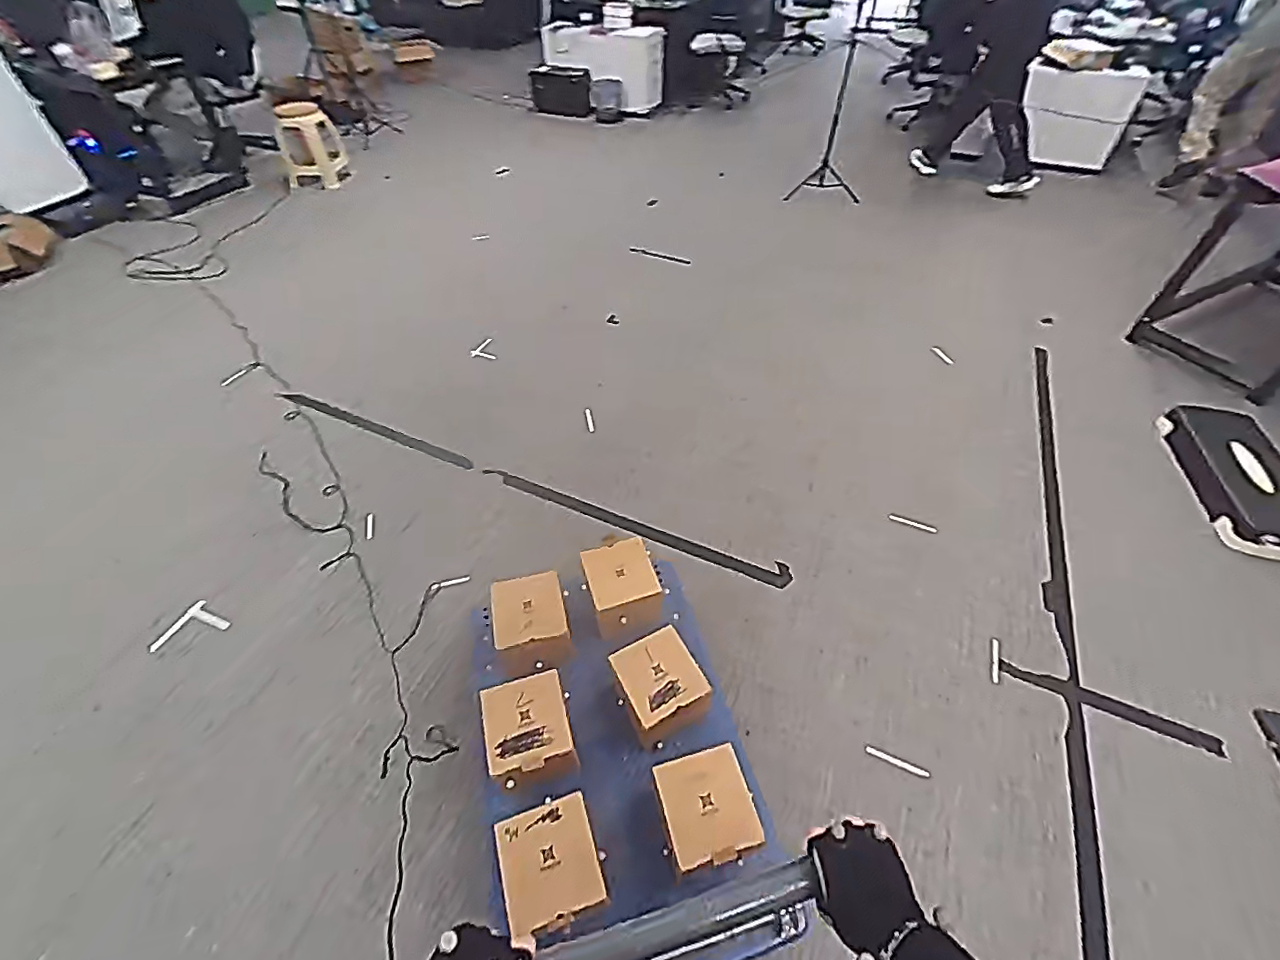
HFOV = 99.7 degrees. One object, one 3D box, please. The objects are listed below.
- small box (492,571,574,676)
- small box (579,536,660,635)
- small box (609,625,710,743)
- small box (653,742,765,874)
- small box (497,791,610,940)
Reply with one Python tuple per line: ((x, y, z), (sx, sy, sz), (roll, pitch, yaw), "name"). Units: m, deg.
((-0.263, 0.355, 1.334), (0.168, 0.176, 0.179), (-11, 50, -9), "small box")
((-0.050, 0.280, 1.402), (0.168, 0.176, 0.179), (-15, 50, -12), "small box")
((0.042, 0.471, 1.231), (0.168, 0.176, 0.179), (-22, 51, -18), "small box")
((0.128, 0.653, 1.070), (0.168, 0.176, 0.179), (-12, 49, -11), "small box")
((-0.157, 0.719, 1.010), (0.168, 0.176, 0.179), (-15, 50, -14), "small box")
